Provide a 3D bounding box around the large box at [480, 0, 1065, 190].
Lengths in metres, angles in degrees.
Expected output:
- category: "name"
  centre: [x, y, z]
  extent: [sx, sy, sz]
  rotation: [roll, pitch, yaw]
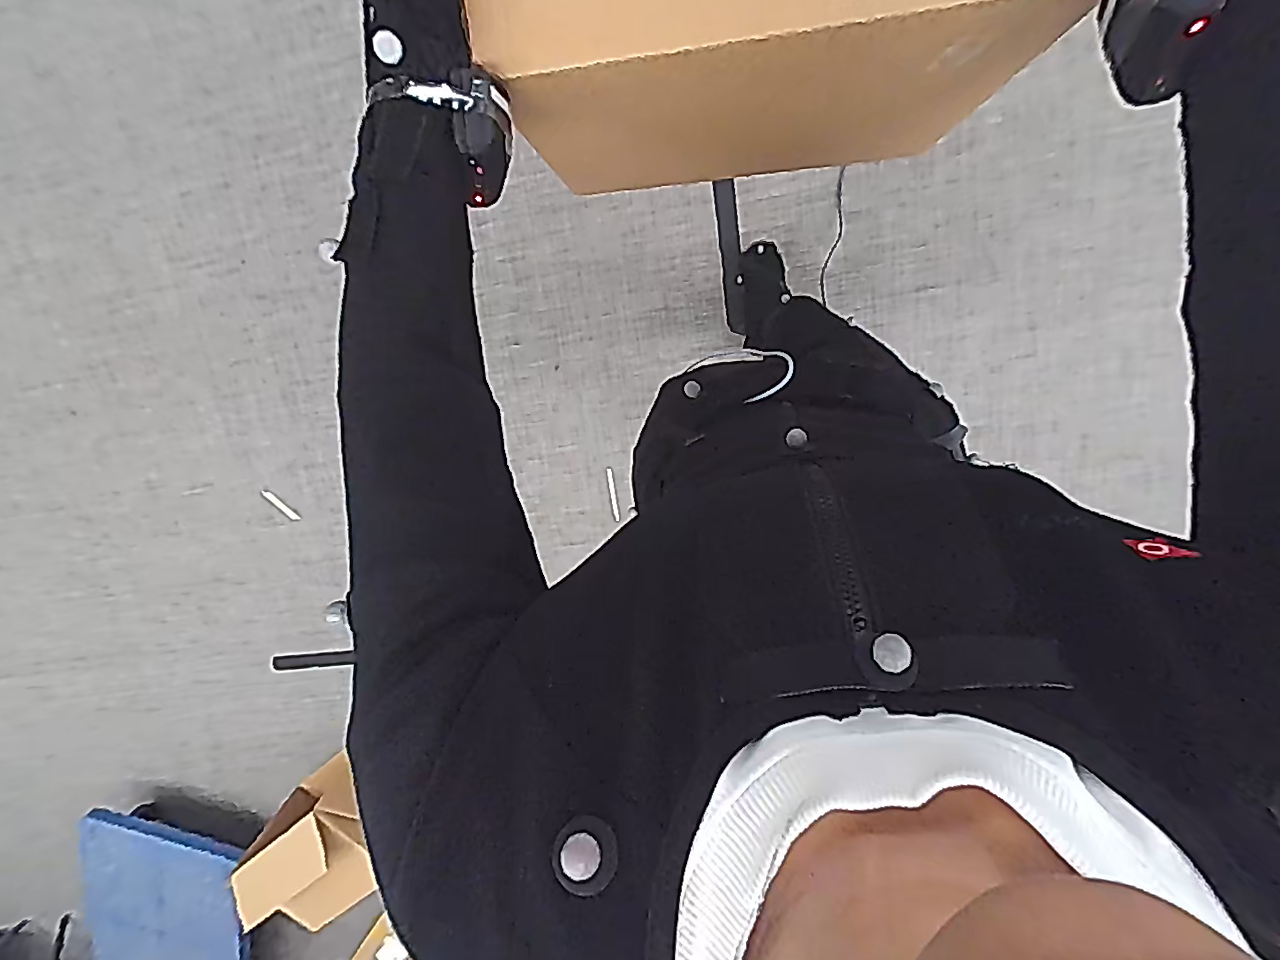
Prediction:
- category: "large box"
  centre: [0.090, -0.477, 0.455]
  extent: [0.408, 0.320, 0.320]
  rotation: [-4, 105, 7]
